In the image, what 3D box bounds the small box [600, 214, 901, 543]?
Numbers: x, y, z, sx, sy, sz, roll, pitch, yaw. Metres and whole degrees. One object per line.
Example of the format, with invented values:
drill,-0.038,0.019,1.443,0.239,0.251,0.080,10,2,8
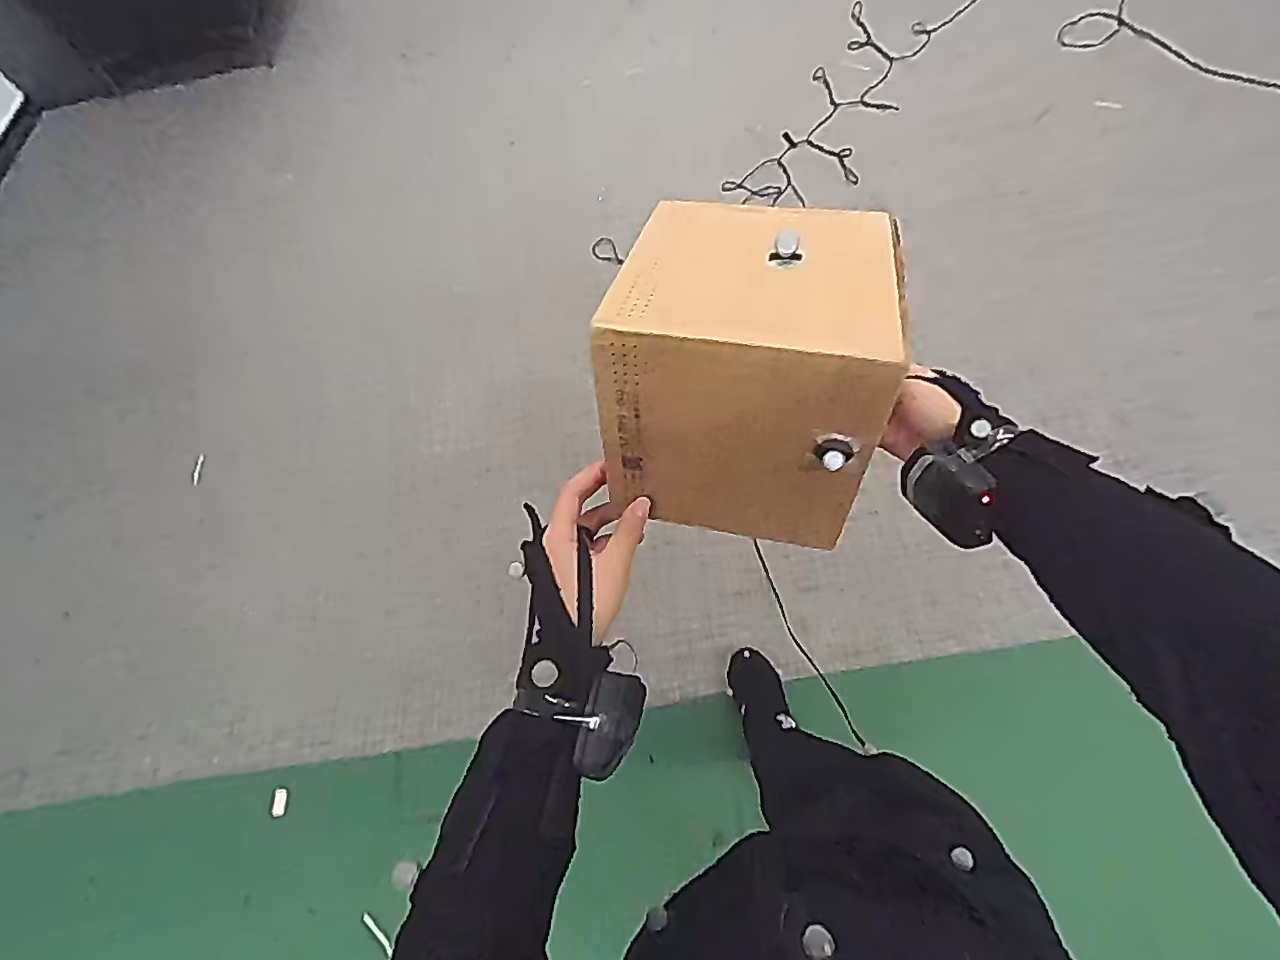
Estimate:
small box,0.075,-0.082,0.405,0.176,0.168,0.179,9,49,12
